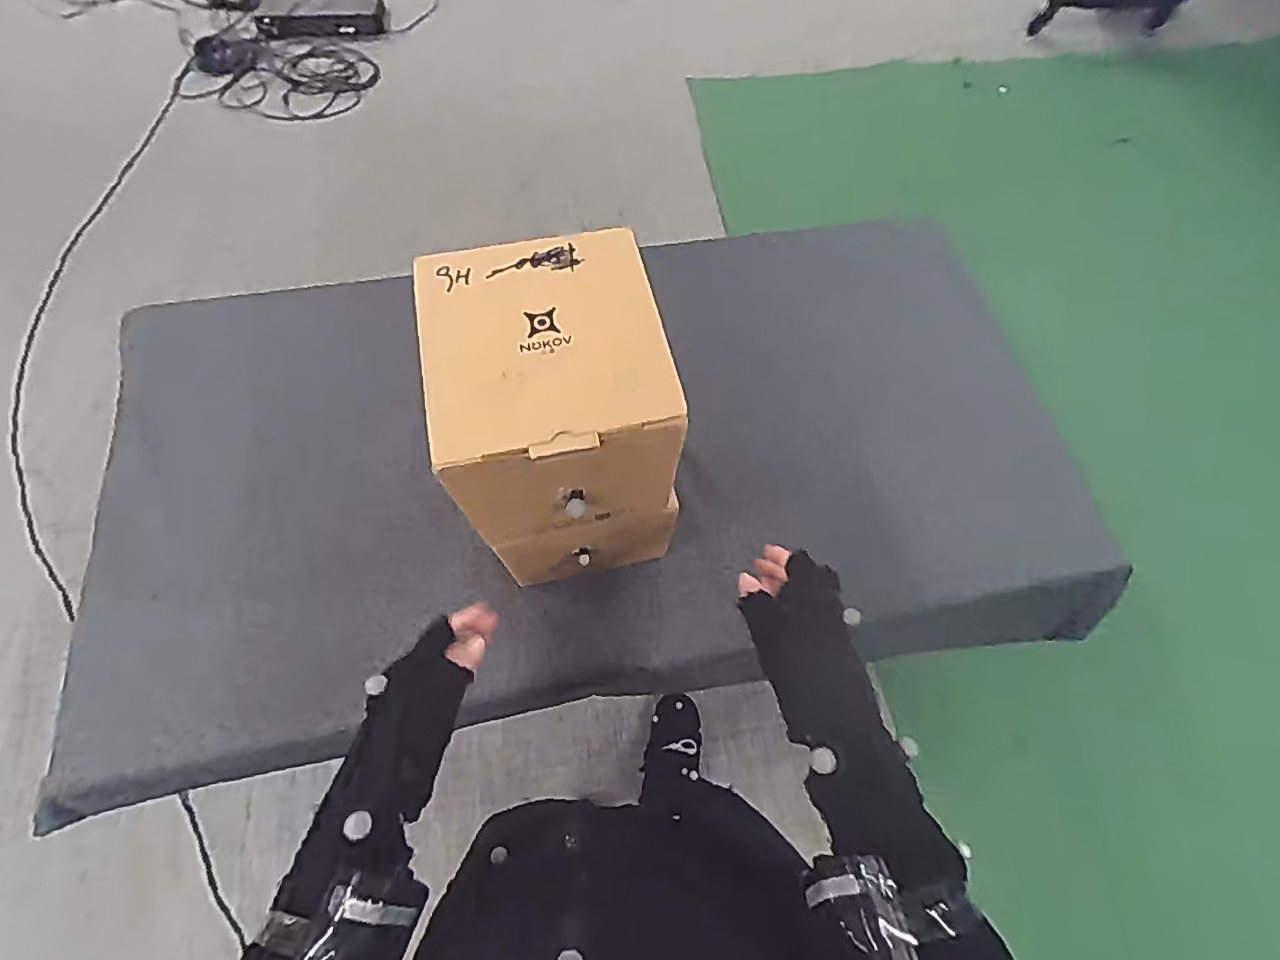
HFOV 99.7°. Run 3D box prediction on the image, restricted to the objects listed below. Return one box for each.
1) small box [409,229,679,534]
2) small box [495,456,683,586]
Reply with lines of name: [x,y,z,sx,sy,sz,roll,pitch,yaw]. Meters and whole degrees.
small box: [-0.072,-0.065,0.441,0.168,0.176,0.179,-11,68,-7]
small box: [-0.069,0.003,0.590,0.179,0.176,0.168,-14,68,-9]
